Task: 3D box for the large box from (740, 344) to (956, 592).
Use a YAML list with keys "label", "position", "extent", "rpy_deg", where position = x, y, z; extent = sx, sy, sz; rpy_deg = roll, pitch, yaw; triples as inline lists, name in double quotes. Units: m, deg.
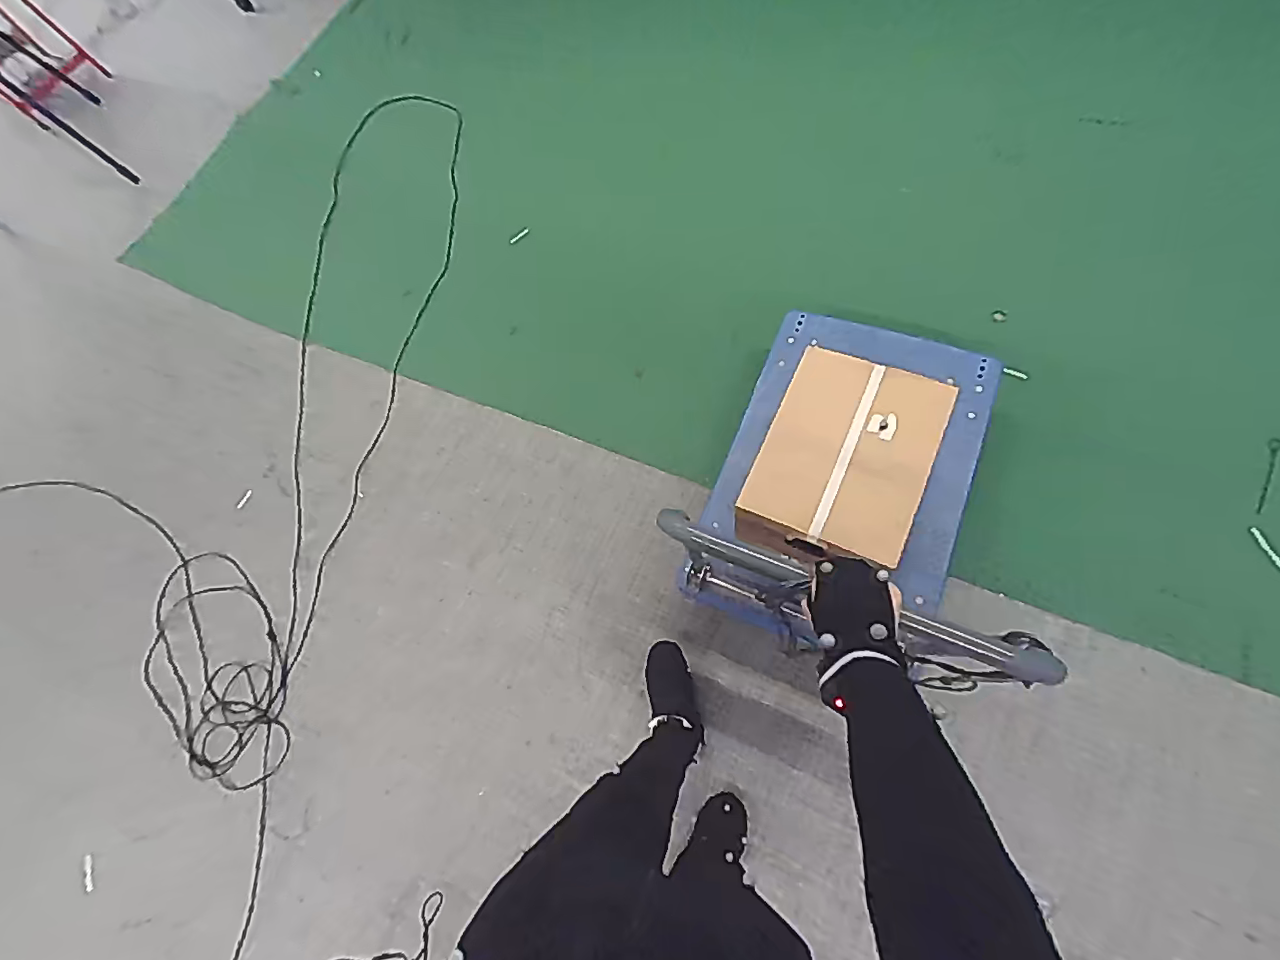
- label: "large box"
  position: [0.435, -0.015, 1.200]
  extent: [0.320, 0.320, 0.408]
  rpy_deg: [23, 74, 17]
